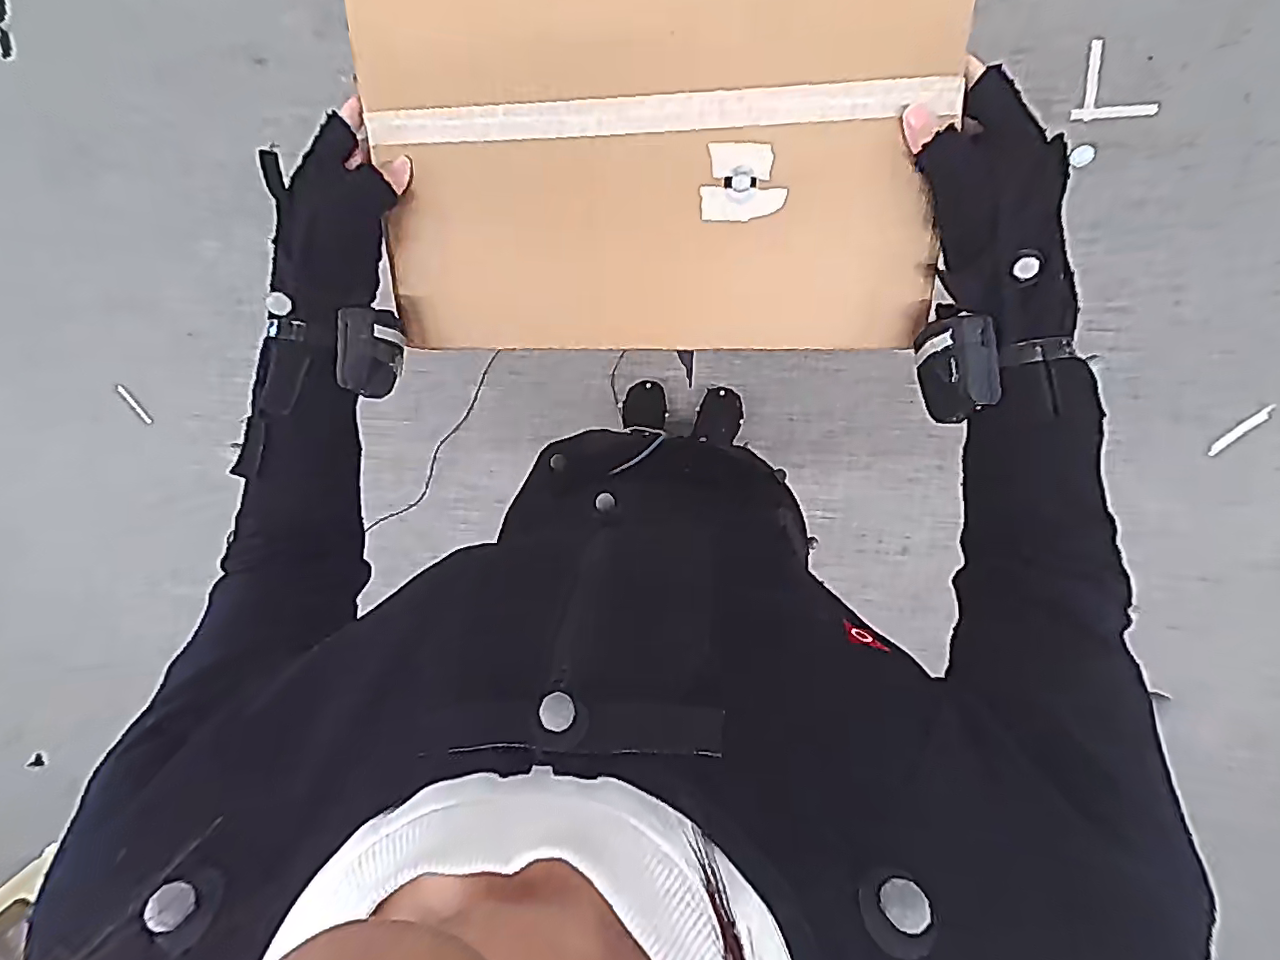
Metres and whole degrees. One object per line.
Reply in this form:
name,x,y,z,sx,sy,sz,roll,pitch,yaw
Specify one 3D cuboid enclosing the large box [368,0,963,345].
large box,0.024,-0.307,0.520,0.408,0.320,0.320,1,110,7
